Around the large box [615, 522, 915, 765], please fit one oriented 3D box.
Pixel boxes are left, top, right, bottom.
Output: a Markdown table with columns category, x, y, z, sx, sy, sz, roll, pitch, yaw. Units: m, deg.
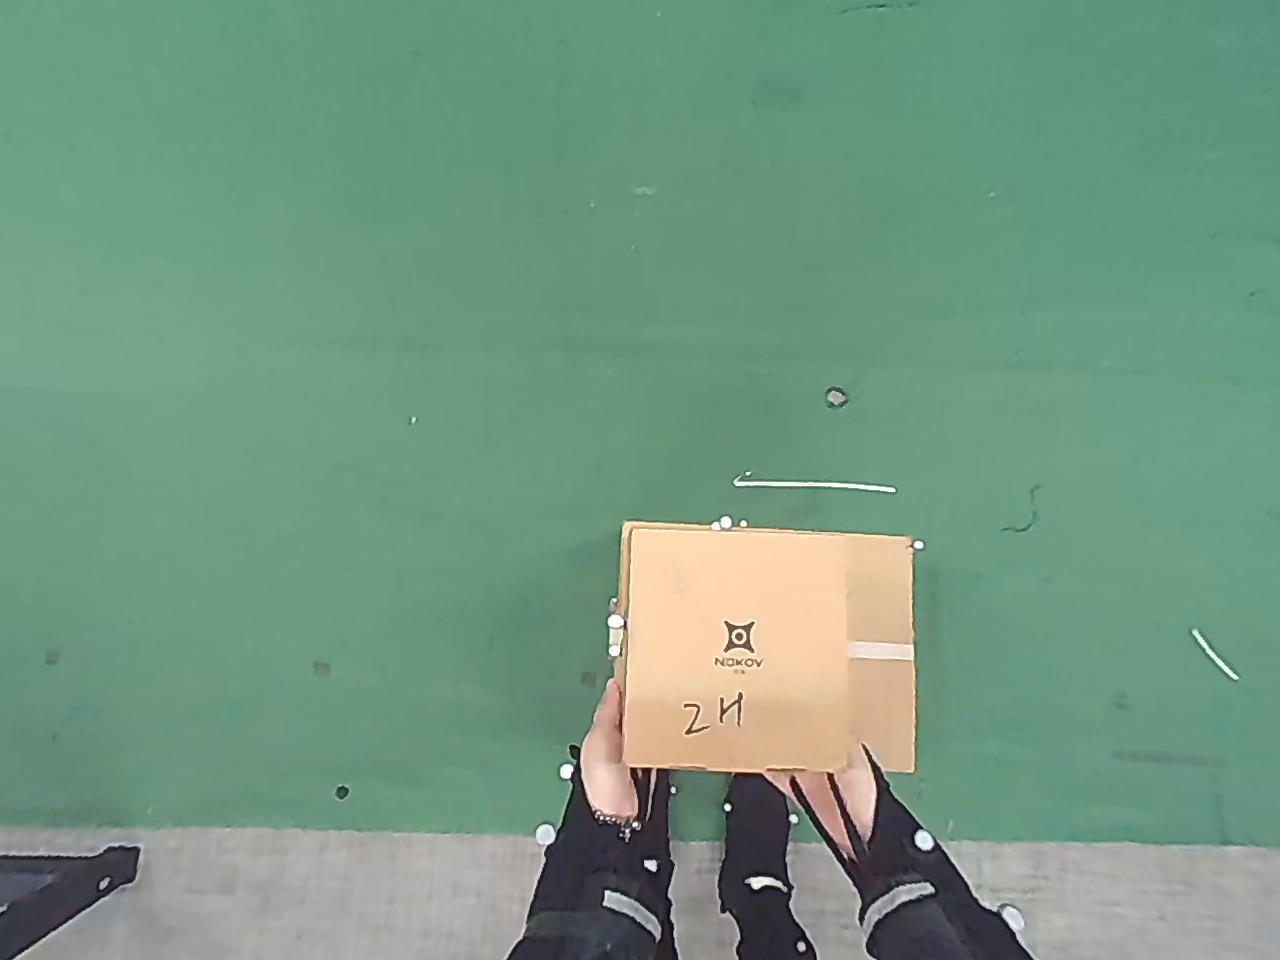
| category | x | y | z | sx | sy | sz | roll | pitch | yaw |
| --- | --- | --- | --- | --- | --- | --- | --- | --- | --- |
| large box | 0.164 | 0.235 | 0.872 | 0.408 | 0.320 | 0.320 | 3 | 84 | -1 |

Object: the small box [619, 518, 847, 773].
| category | x | y | z | sx | sy | sz | roll | pitch | yaw |
| --- | --- | --- | --- | --- | --- | --- | --- | --- | --- |
| small box | 0.067 | 0.130 | 0.472 | 0.168 | 0.176 | 0.179 | 2 | 82 | 0 |
